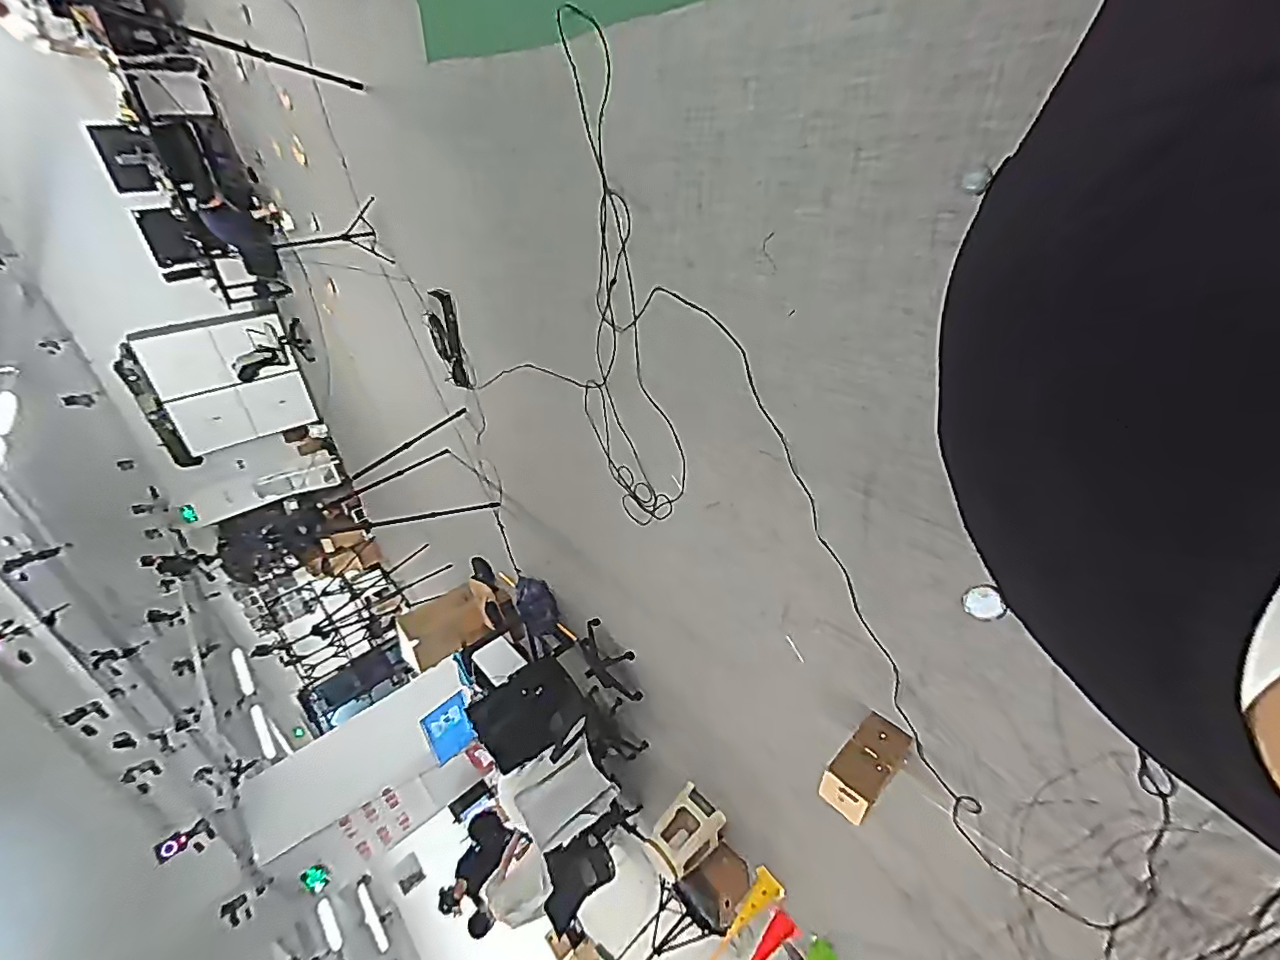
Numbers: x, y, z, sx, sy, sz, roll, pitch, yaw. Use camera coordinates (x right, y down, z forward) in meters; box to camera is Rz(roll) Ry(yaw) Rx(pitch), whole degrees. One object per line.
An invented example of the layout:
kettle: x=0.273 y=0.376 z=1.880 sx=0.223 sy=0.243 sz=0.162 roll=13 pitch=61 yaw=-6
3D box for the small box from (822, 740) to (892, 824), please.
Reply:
small box: x=0.800 y=1.104 z=1.988 sx=0.168 sy=0.176 sz=0.179 roll=30 pitch=136 yaw=38

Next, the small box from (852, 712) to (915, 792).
small box: x=0.926 y=1.037 z=2.075 sx=0.168 sy=0.176 sz=0.179 roll=30 pitch=133 yaw=43
